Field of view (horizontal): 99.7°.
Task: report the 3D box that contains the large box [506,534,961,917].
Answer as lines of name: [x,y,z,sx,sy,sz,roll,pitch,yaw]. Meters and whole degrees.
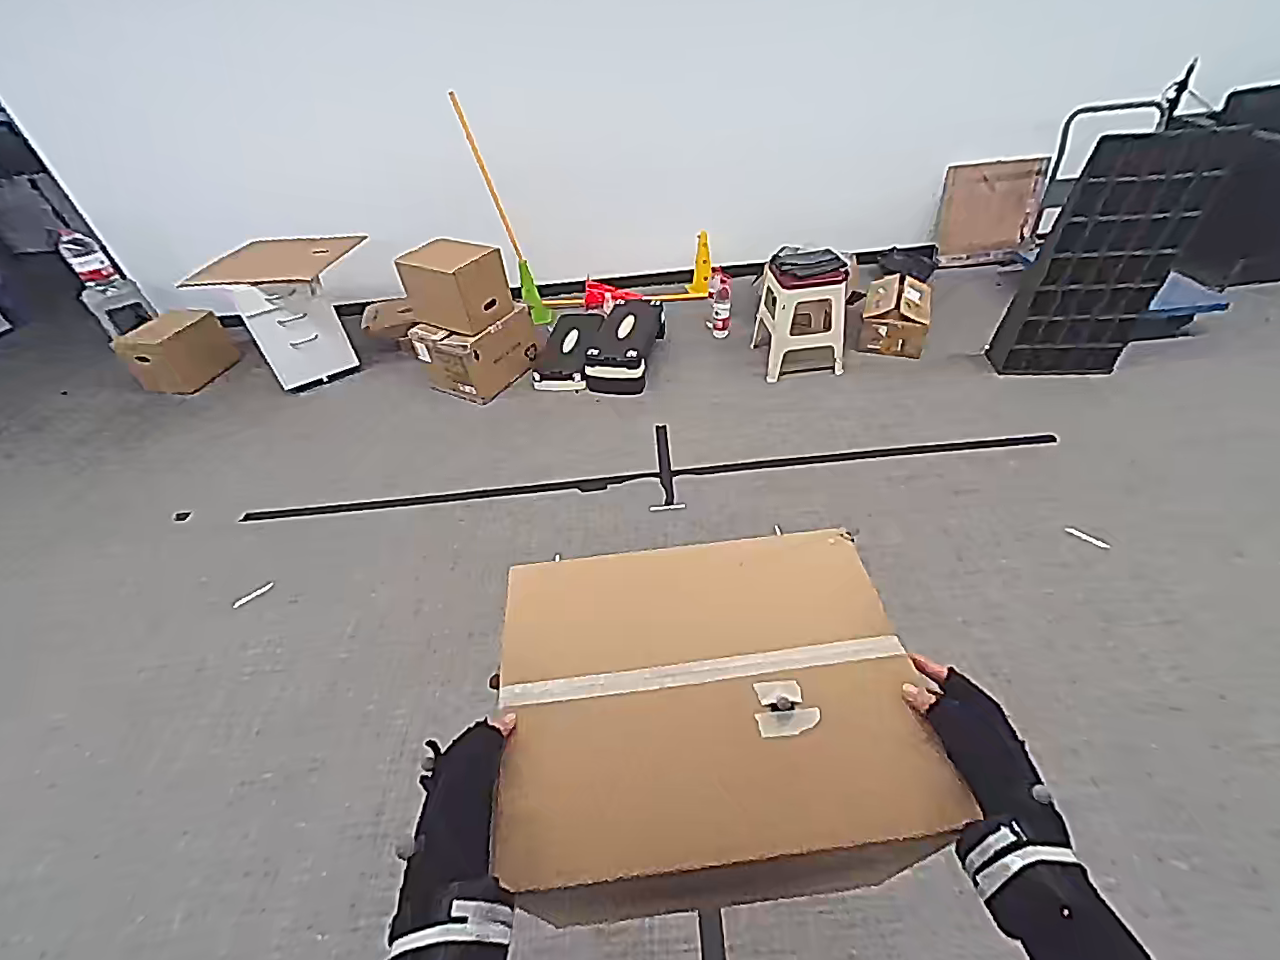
large box: [0.072,0.301,0.665,0.408,0.320,0.320,-6,47,-2]
